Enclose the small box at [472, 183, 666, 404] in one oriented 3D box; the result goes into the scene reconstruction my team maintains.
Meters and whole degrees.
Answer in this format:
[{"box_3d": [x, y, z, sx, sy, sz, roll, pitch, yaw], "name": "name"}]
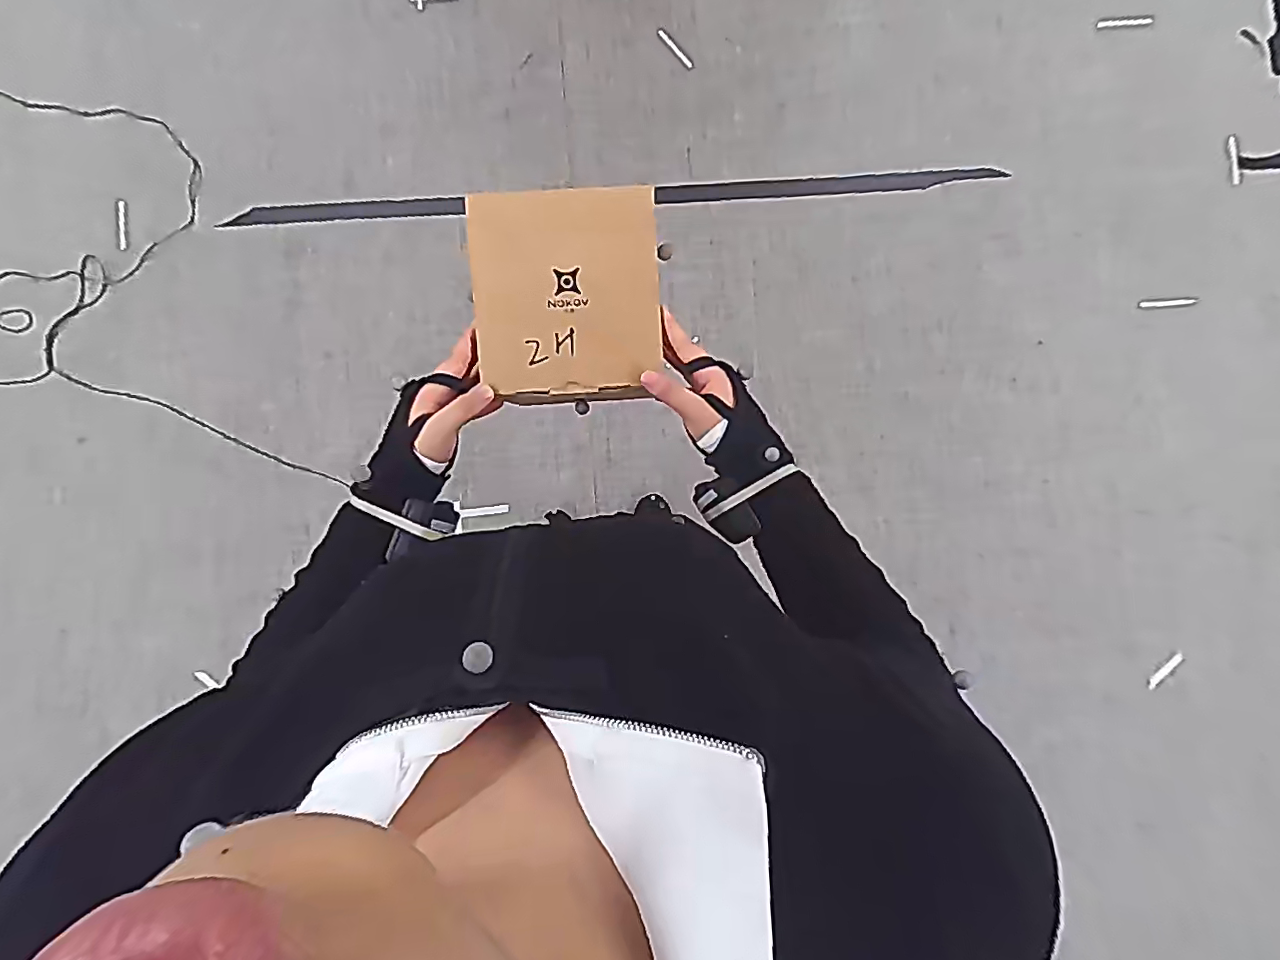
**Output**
[{"box_3d": [-0.064, -0.175, 0.555, 0.168, 0.176, 0.179, -3, 94, -1], "name": "small box"}]
